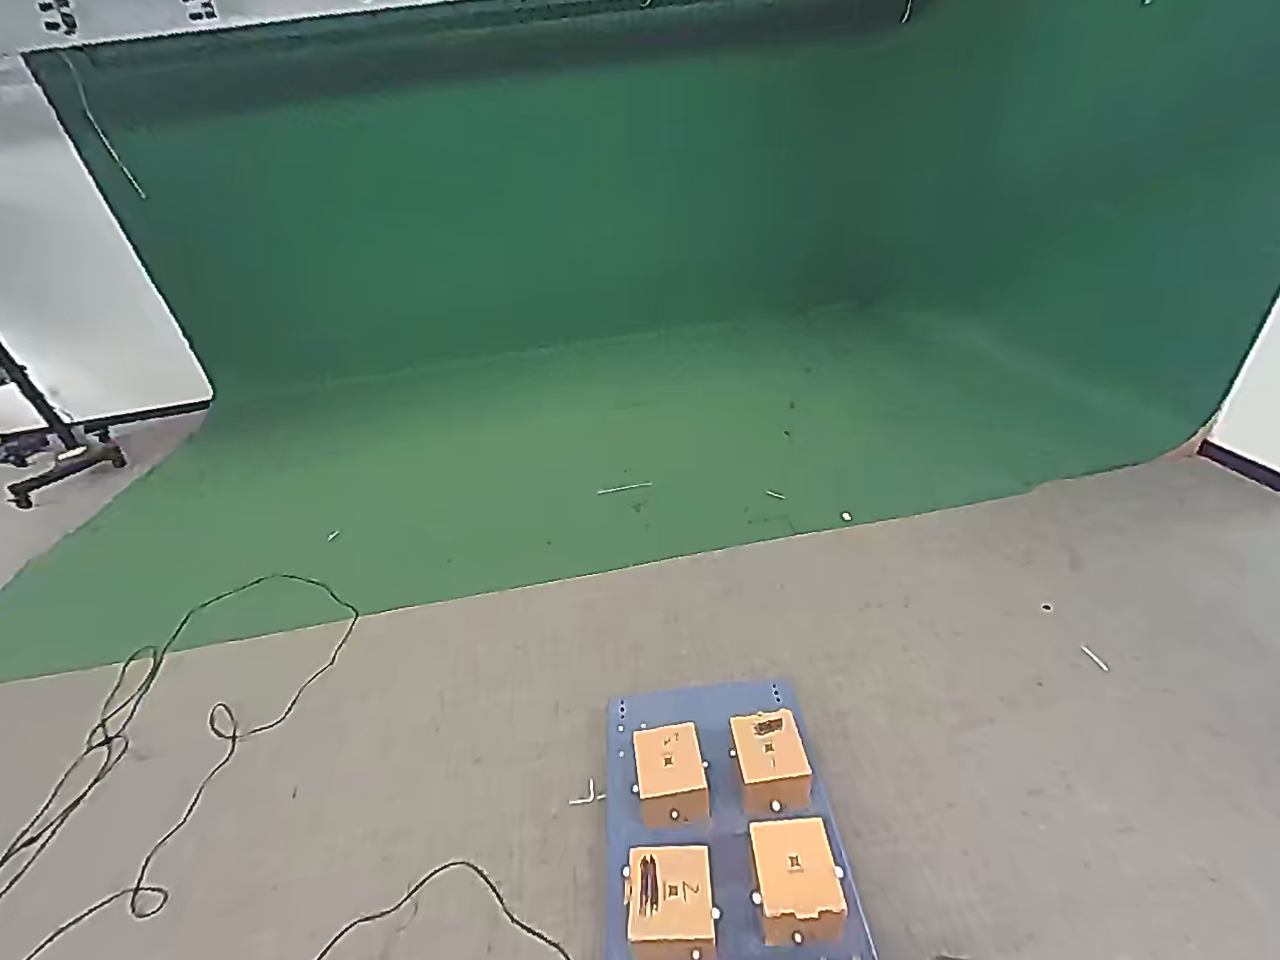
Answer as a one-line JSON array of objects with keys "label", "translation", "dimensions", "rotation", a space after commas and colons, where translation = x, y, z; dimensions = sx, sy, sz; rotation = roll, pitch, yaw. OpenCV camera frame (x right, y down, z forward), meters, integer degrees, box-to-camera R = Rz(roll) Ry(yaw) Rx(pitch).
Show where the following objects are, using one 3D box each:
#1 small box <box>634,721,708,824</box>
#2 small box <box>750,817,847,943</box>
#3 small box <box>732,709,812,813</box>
[{"label": "small box", "translation": [0.081, 0.766, 1.408], "dimensions": [0.168, 0.176, 0.179], "rotation": [-8, 34, -2]}, {"label": "small box", "translation": [0.339, 0.879, 1.192], "dimensions": [0.168, 0.176, 0.179], "rotation": [-6, 34, 2]}, {"label": "small box", "translation": [0.336, 0.731, 1.409], "dimensions": [0.168, 0.176, 0.179], "rotation": [-8, 35, 0]}]
